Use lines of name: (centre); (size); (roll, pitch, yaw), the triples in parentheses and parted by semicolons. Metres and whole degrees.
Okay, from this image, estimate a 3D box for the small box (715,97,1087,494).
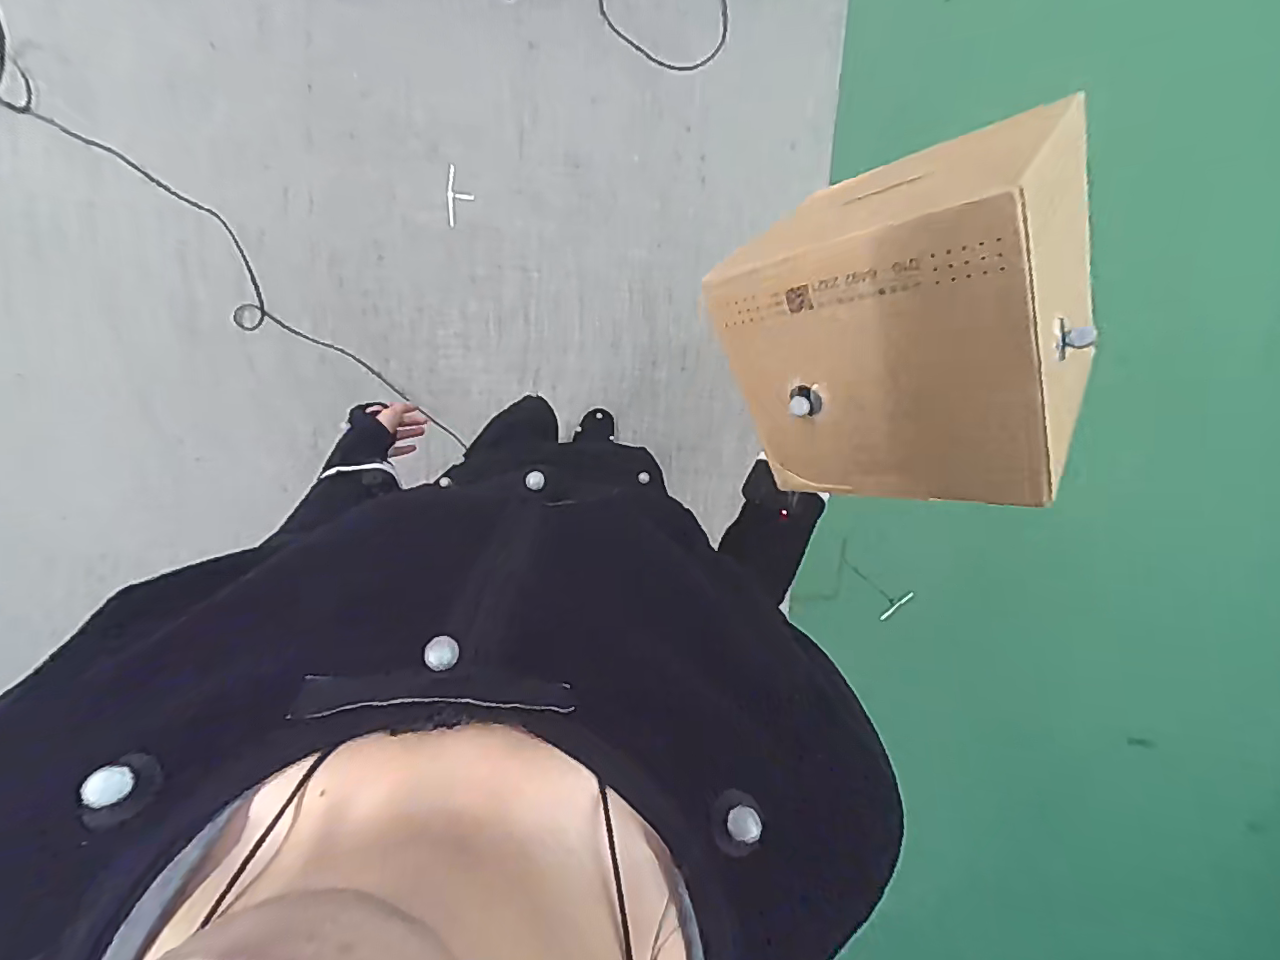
small box: (0.175, -0.111, 0.355); (0.179, 0.168, 0.176); (-46, 123, -33)
